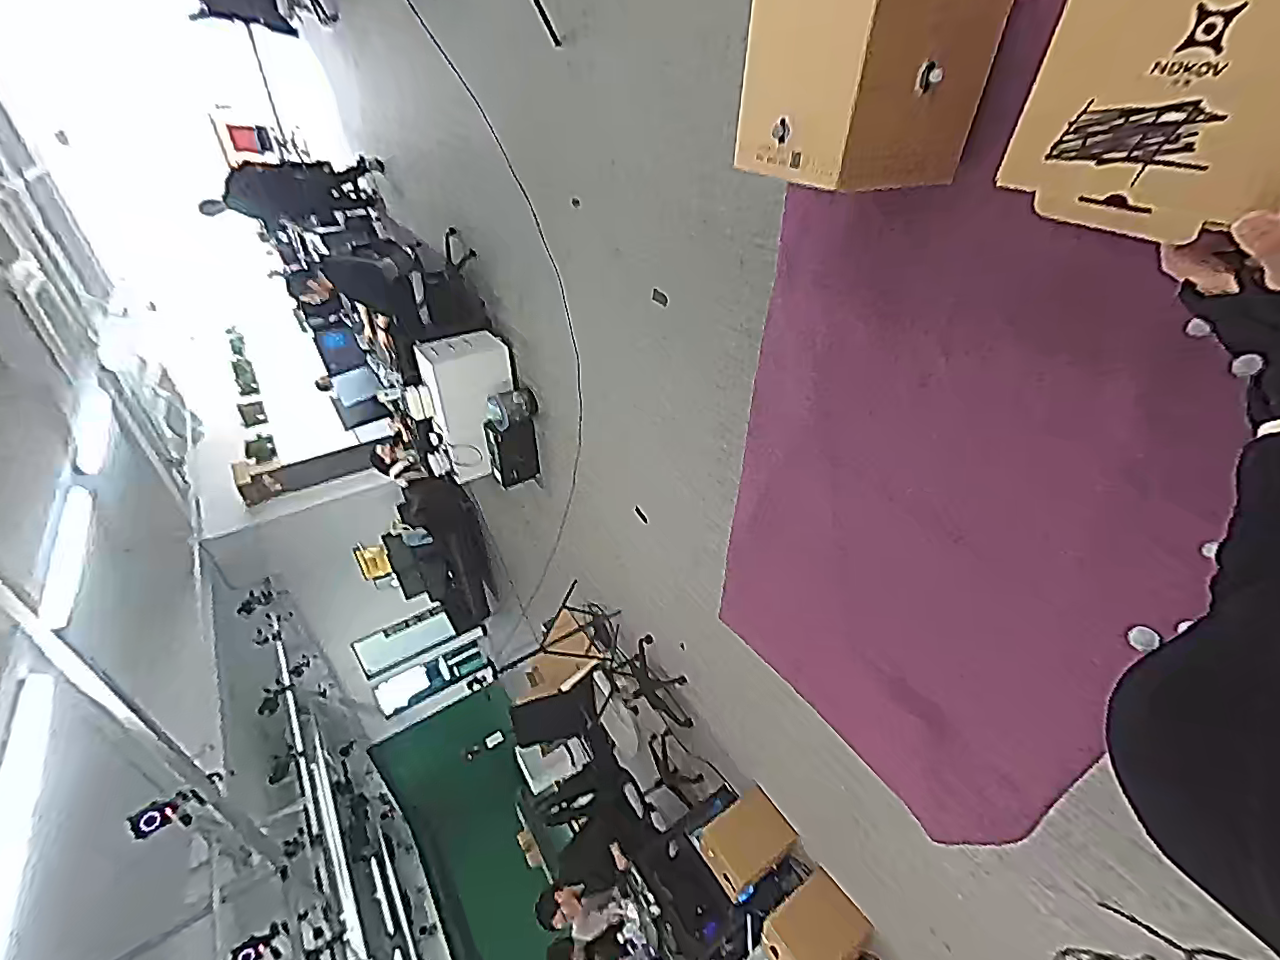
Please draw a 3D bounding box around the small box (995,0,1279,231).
[{"bbox_3d":[0.390,-0.285,0.355,0.168,0.176,0.179,41,143,38],"label":"small box"}]
